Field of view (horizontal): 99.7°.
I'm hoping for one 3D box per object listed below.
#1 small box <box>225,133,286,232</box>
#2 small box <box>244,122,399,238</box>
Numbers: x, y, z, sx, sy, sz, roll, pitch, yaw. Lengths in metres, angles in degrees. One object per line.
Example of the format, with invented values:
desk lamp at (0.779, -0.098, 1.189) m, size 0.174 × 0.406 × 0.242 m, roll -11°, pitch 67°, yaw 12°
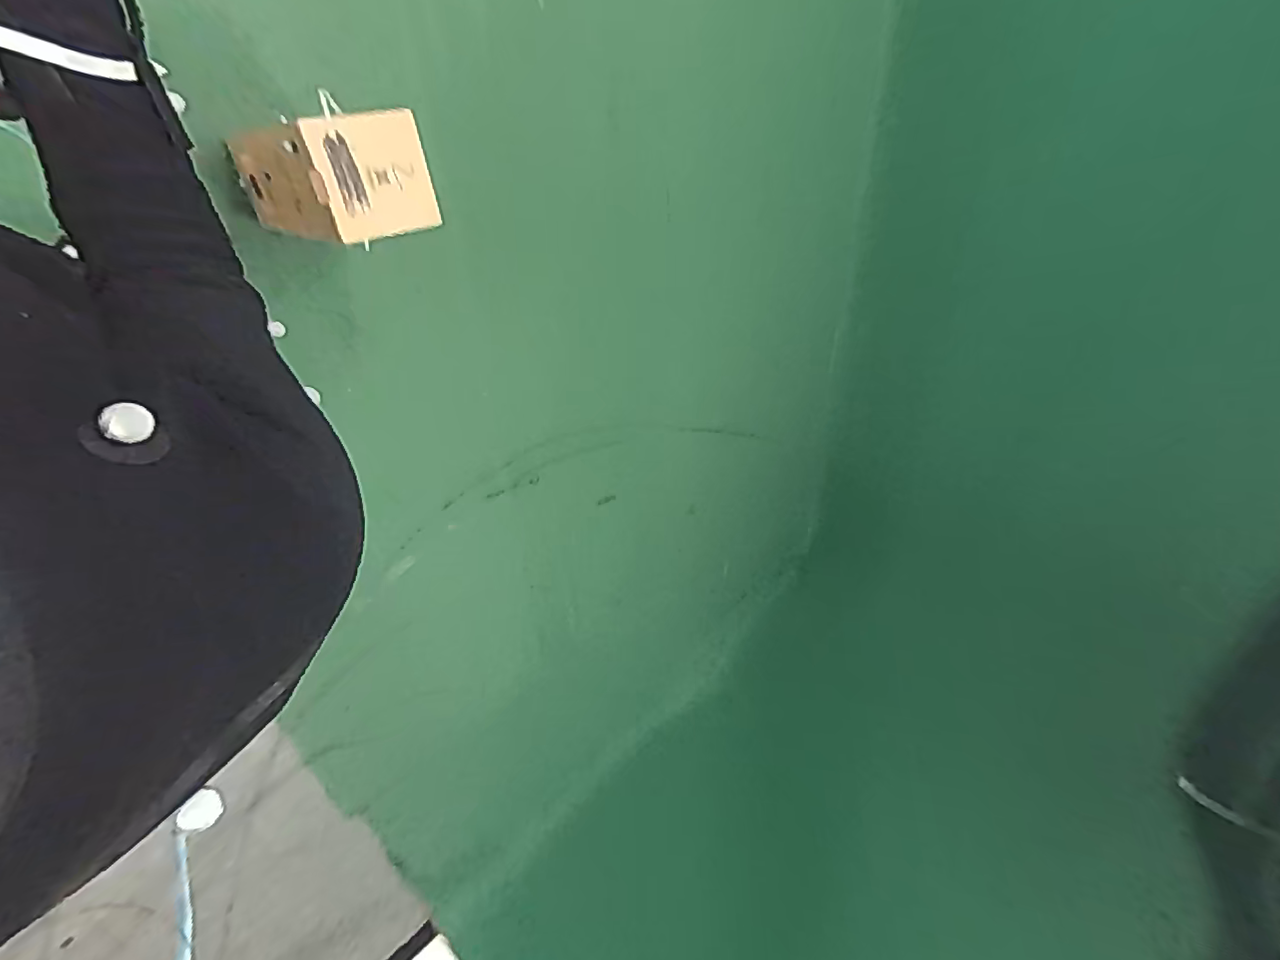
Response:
small box at (-0.701, -0.615, 1.106) m, size 0.179 × 0.176 × 0.168 m, roll -31°, pitch 130°, yaw -34°
small box at (-0.588, -0.560, 1.003) m, size 0.179 × 0.176 × 0.168 m, roll -32°, pitch 132°, yaw -31°
